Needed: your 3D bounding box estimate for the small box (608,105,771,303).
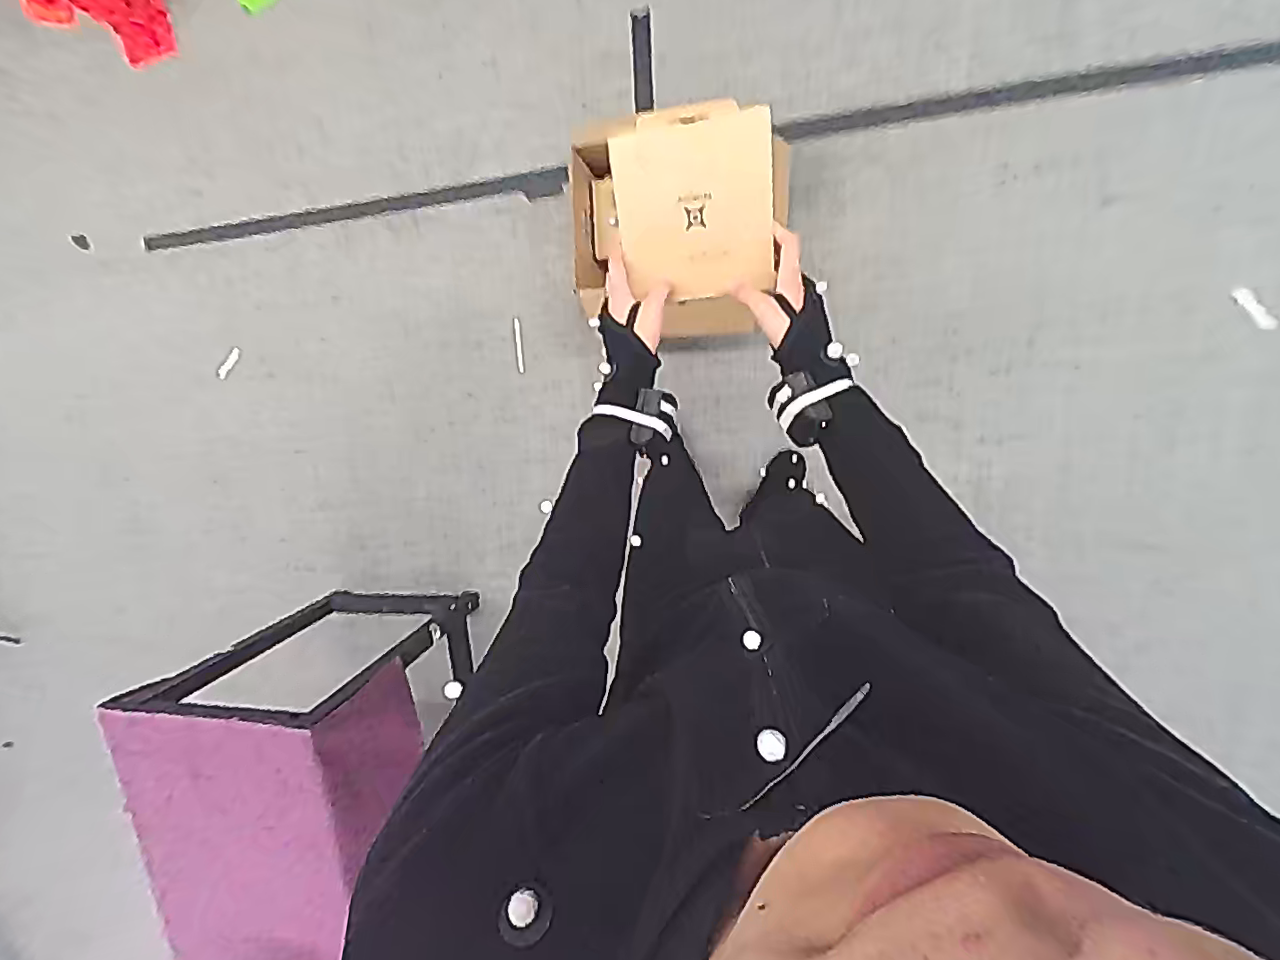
[{"bbox_3d":[0.057,-0.316,0.645,0.168,0.176,0.179,-6,113,4],"label":"small box"}]
